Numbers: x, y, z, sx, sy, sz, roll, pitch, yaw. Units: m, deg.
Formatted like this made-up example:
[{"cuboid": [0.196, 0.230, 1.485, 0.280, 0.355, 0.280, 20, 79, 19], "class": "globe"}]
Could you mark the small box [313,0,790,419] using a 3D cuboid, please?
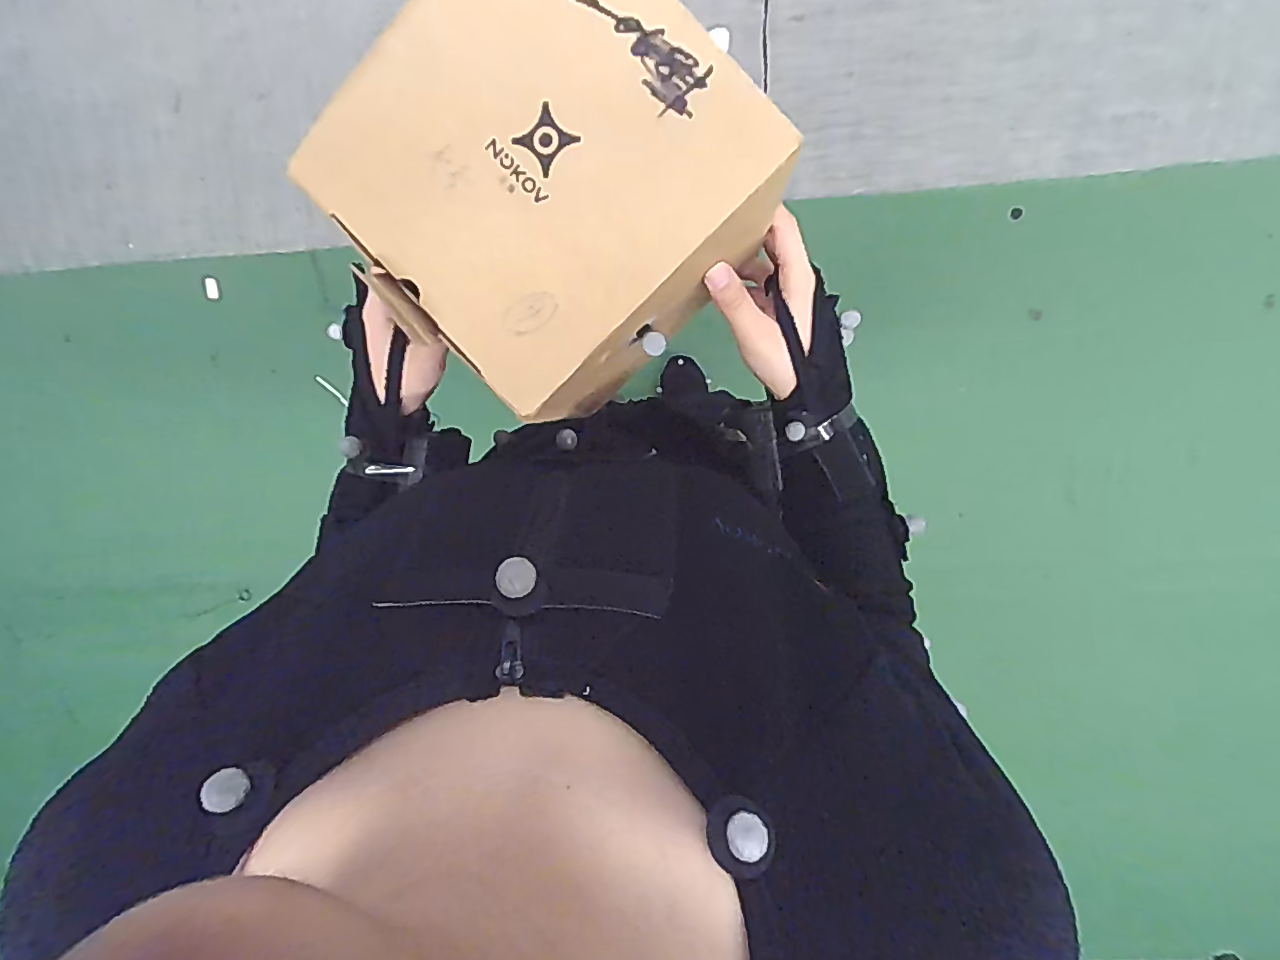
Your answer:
[{"cuboid": [-0.037, -0.155, 0.330, 0.179, 0.176, 0.168, -43, 91, 10], "class": "small box"}]
